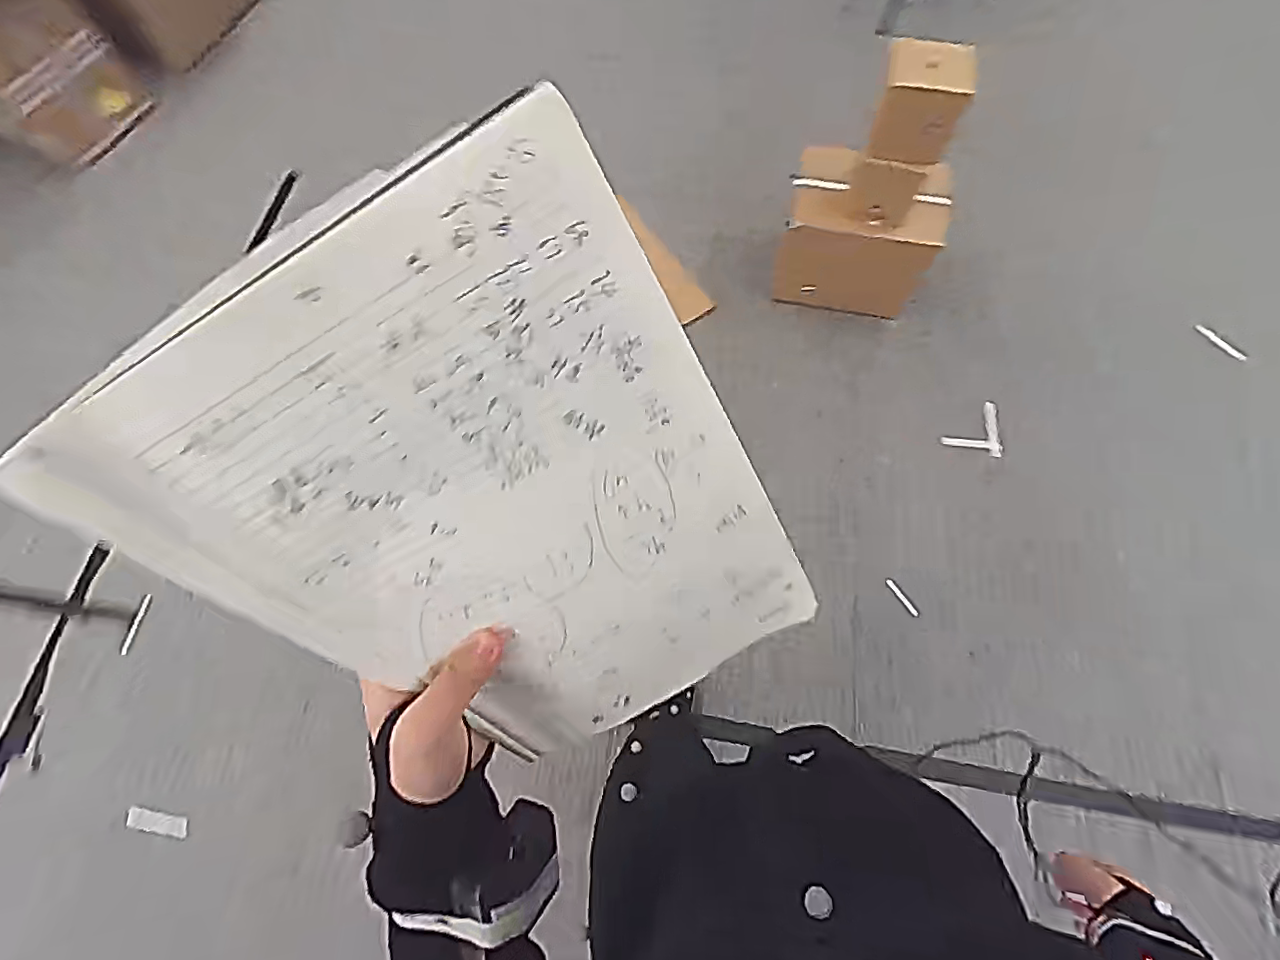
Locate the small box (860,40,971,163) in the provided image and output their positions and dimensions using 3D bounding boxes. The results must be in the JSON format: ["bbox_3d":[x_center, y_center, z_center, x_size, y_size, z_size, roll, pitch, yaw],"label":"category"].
[{"bbox_3d":[0.628,-0.863,1.244,0.179,0.176,0.168,10,69,7],"label":"small box"}]
